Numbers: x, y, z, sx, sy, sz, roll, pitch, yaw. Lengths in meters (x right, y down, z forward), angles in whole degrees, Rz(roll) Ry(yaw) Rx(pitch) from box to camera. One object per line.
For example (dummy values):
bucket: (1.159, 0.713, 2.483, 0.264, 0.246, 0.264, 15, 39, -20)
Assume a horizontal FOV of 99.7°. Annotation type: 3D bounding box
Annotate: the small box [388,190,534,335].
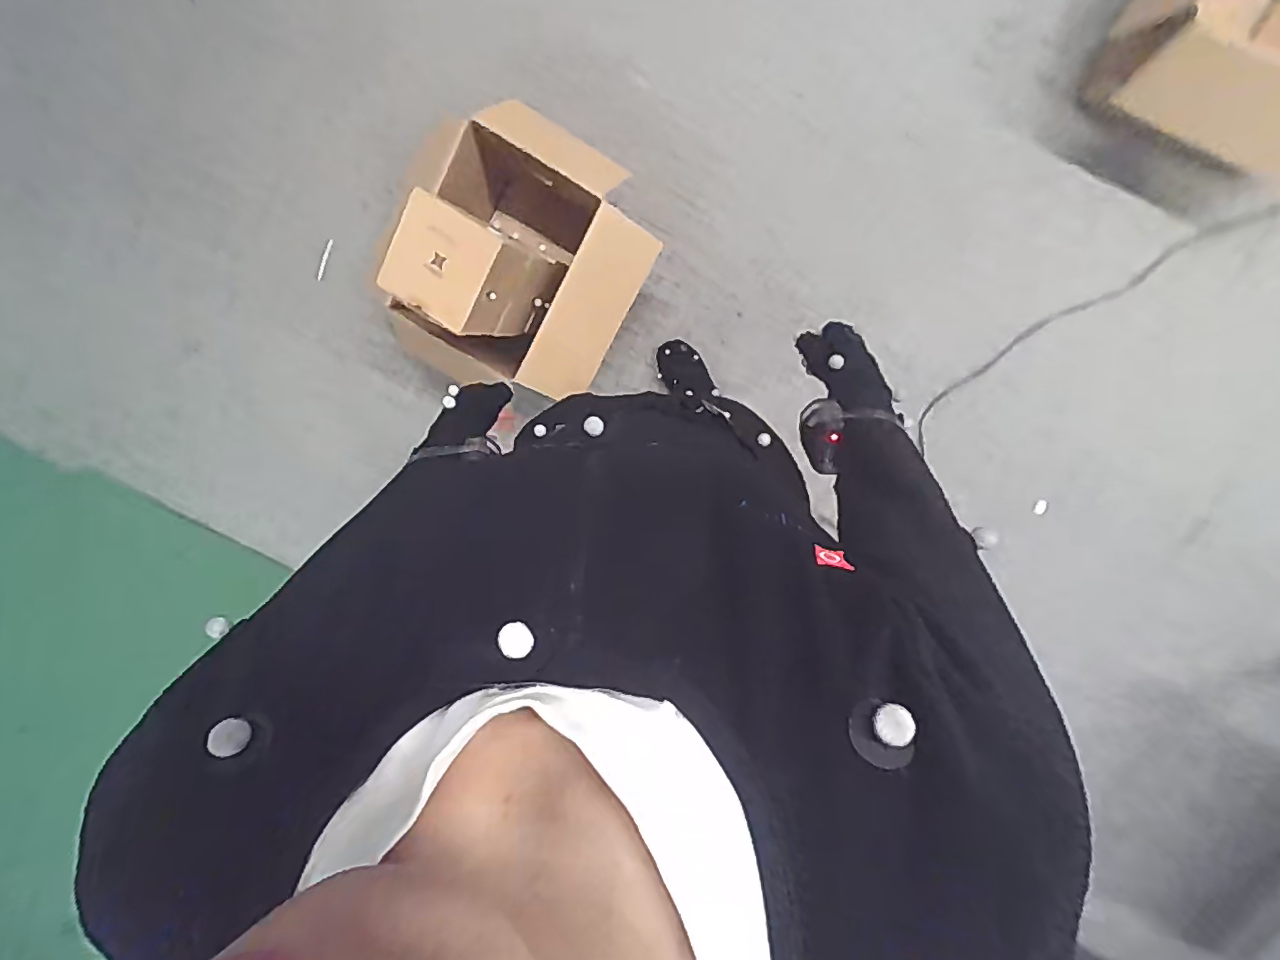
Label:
small box: (-0.313, -0.381, 0.978, 0.168, 0.176, 0.179, 29, 106, -3)
